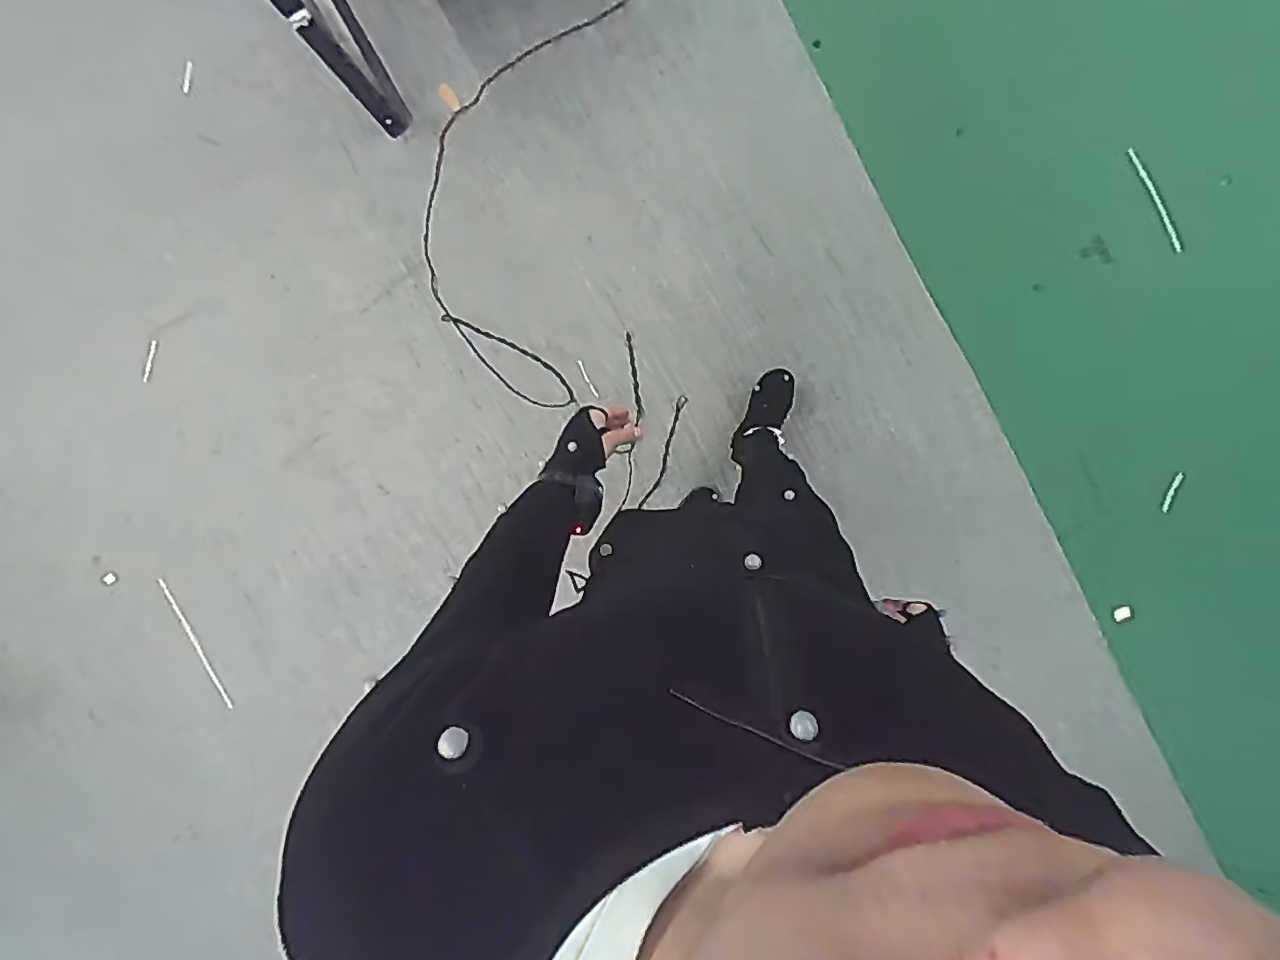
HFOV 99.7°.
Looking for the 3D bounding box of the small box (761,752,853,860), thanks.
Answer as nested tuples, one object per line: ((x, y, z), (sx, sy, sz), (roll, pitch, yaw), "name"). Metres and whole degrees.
((0.449, 0.881, 1.487), (0.168, 0.176, 0.179), (-24, 90, 4), "small box")
